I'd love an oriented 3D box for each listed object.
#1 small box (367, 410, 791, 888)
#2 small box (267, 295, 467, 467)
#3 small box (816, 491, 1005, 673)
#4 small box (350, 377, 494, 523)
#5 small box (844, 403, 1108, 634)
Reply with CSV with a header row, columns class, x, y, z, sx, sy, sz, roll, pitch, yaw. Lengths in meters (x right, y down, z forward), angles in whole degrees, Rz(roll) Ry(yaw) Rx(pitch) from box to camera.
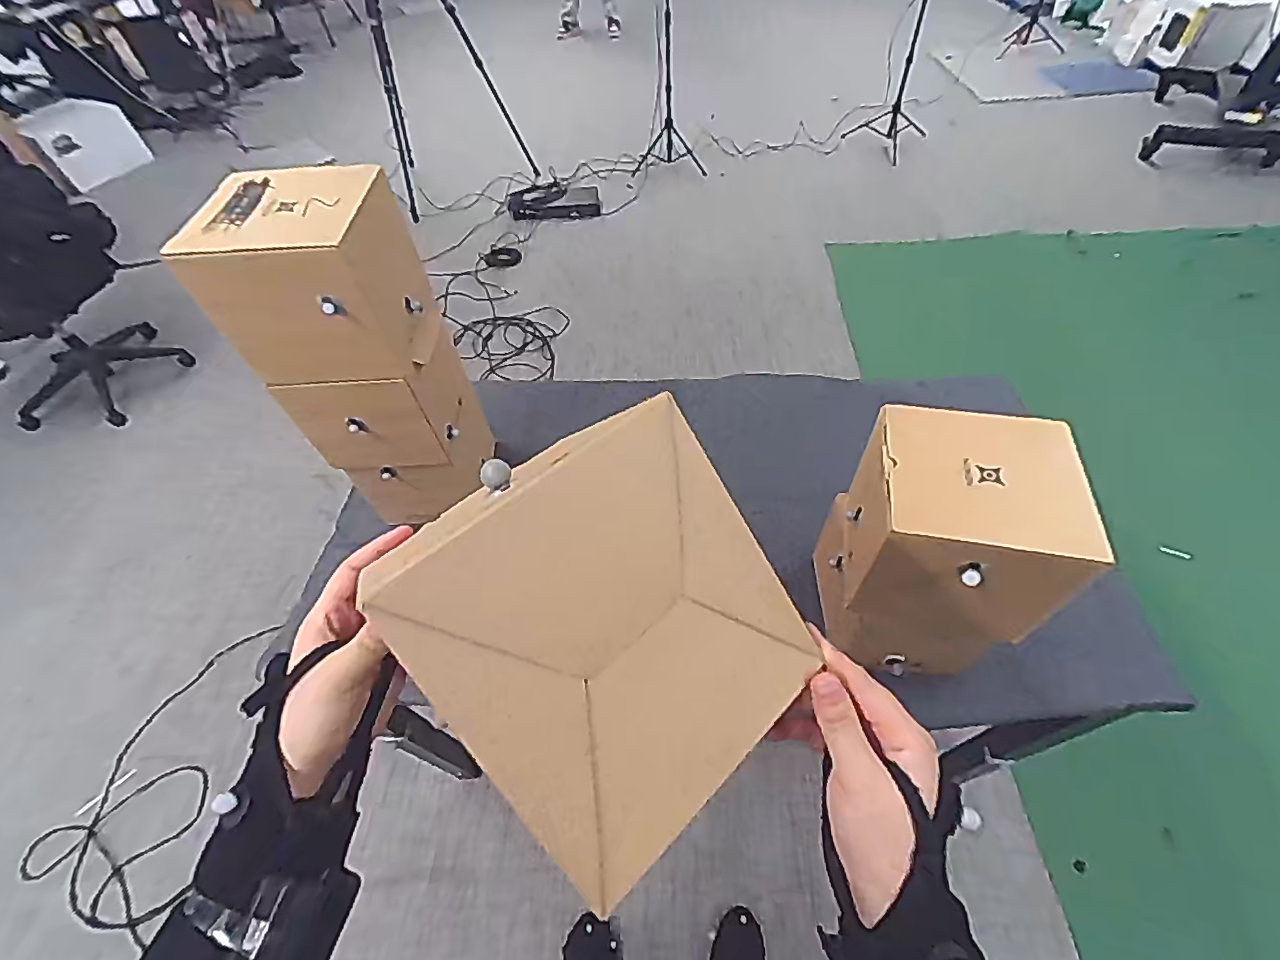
class,x,y,z,sx,sy,sz,roll,pitch,yaw
small box,-0.040,0.080,0.322,0.168,0.179,0.176,-36,14,-24
small box,-0.359,-0.133,0.755,0.179,0.176,0.168,-4,54,2
small box,0.335,0.133,0.702,0.168,0.176,0.179,-1,52,5
small box,-0.350,-0.048,0.897,0.168,0.176,0.179,-4,53,1
small box,0.324,0.044,0.566,0.179,0.176,0.168,8,53,12
